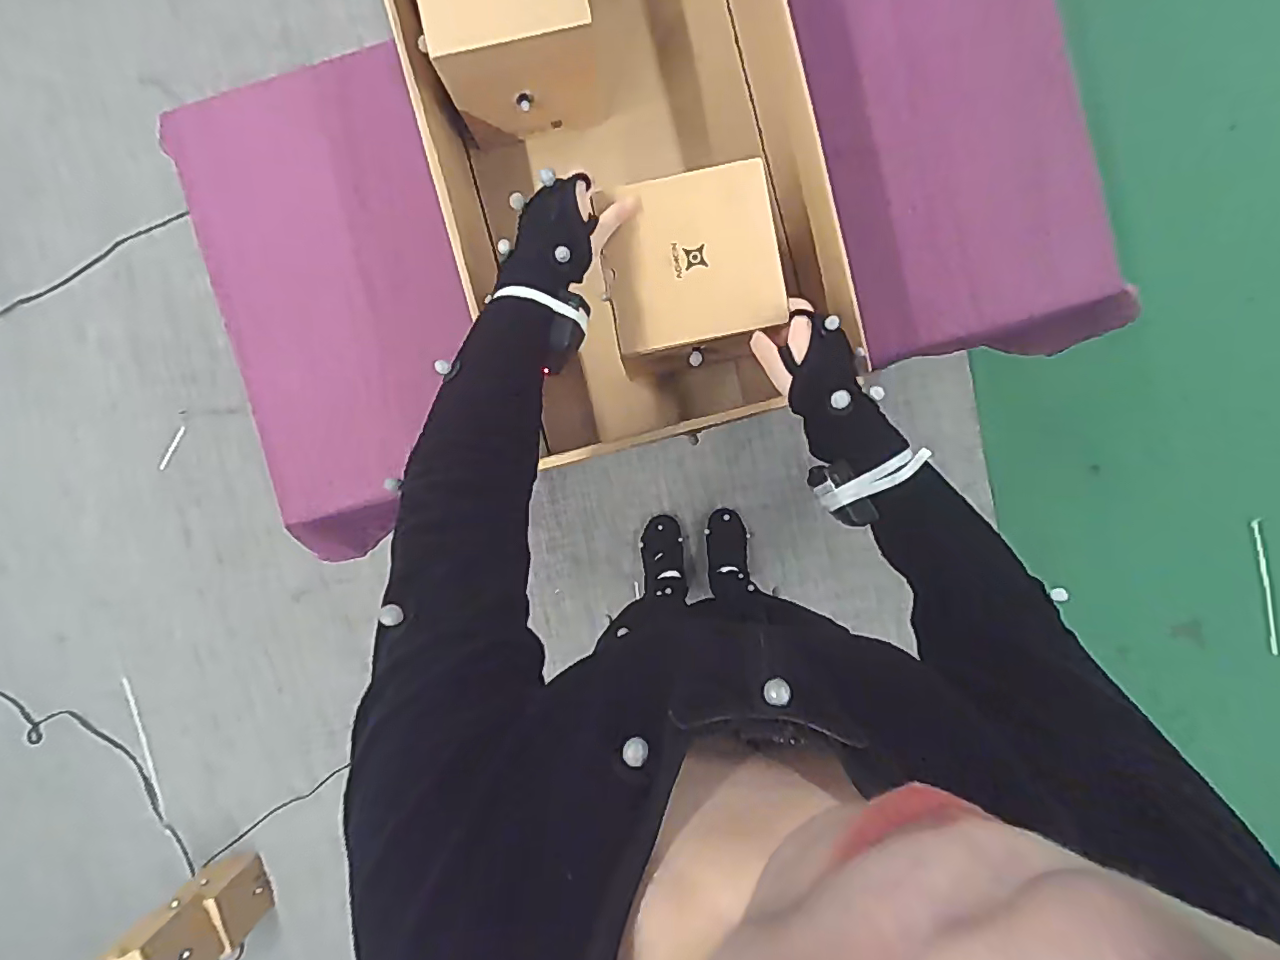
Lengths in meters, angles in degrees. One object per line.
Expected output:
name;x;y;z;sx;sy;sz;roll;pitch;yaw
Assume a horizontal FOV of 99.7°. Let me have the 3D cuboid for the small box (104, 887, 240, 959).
small box;-1.198;1.203;1.395;0.168;0.176;0.179;-25;92;5
